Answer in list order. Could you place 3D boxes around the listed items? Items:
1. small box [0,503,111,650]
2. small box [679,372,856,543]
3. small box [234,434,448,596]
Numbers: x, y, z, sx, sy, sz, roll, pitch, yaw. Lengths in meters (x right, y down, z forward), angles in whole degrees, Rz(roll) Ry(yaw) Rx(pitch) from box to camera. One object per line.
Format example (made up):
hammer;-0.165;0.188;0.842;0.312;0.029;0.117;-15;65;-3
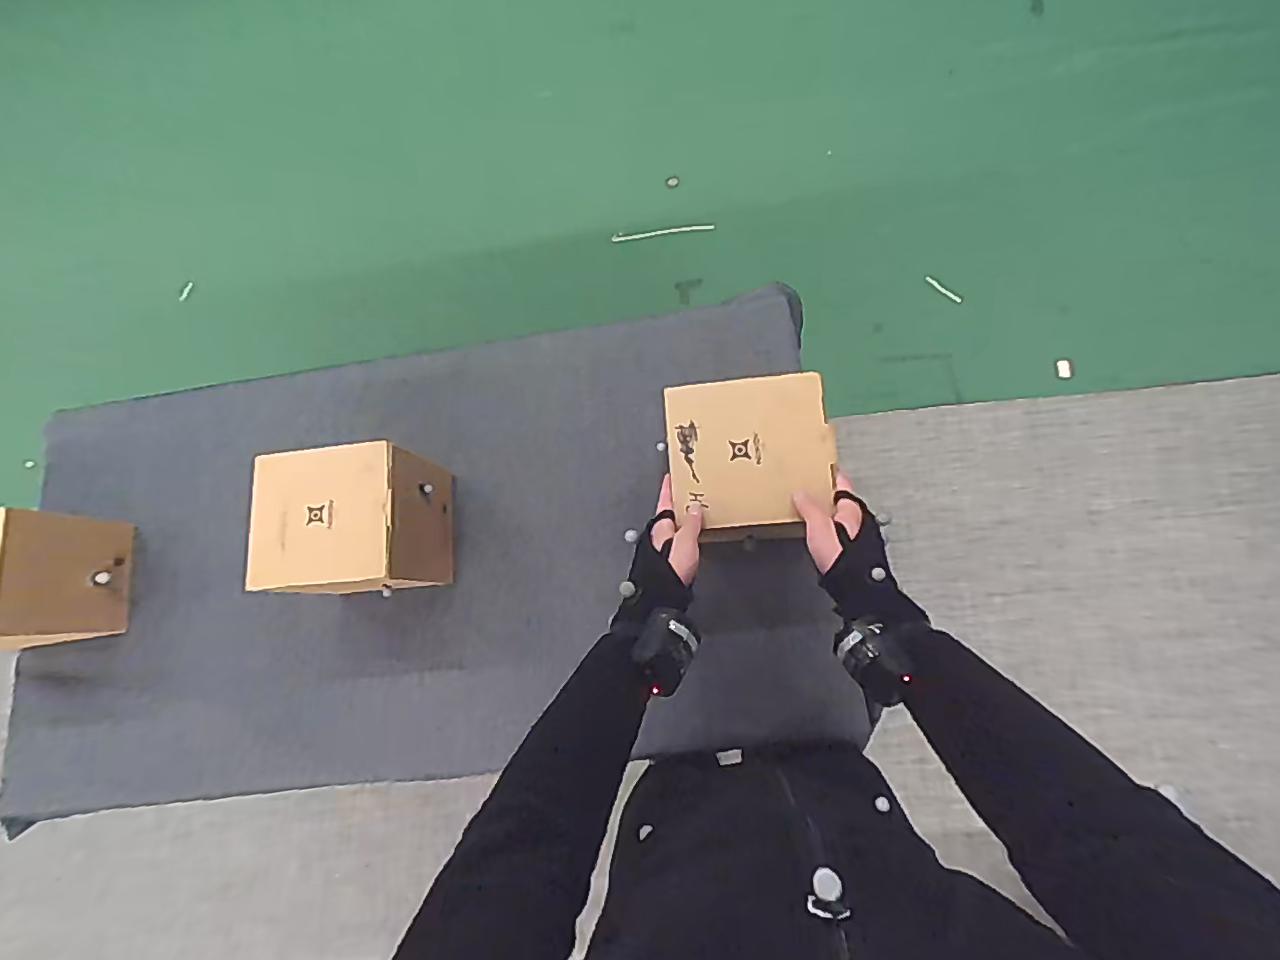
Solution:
small box;-0.852;0.131;0.693;0.179;0.176;0.168;-8;76;1
small box;0.138;-0.017;0.653;0.179;0.176;0.168;-4;76;4
small box;-0.355;0.053;0.678;0.179;0.176;0.168;-7;75;4
